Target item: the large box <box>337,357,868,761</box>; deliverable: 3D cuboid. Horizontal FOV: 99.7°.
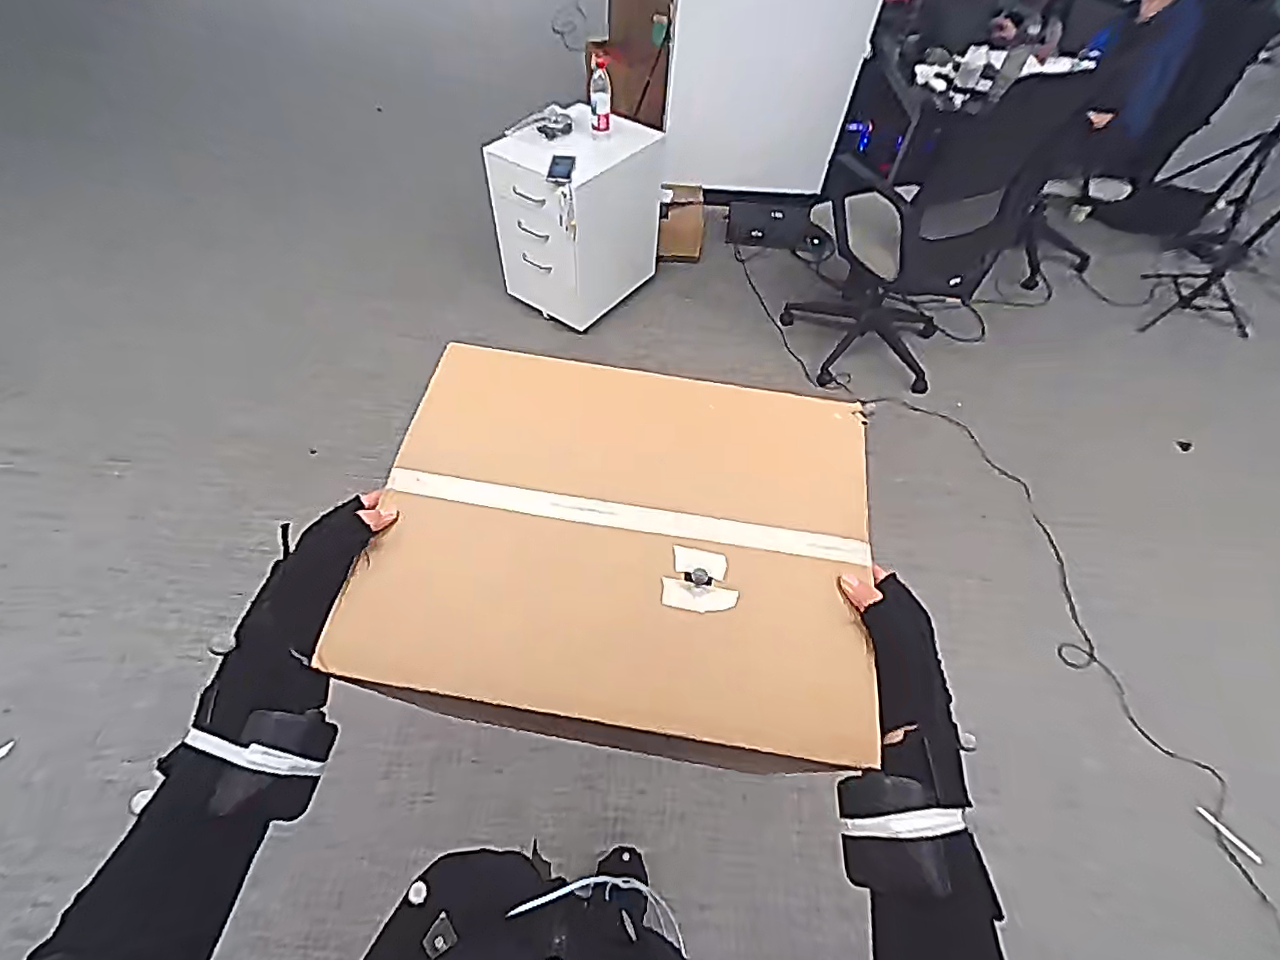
[{"bbox_3d":[-0.019,0.106,0.595,0.408,0.320,0.320,9,62,2],"label":"large box"}]
